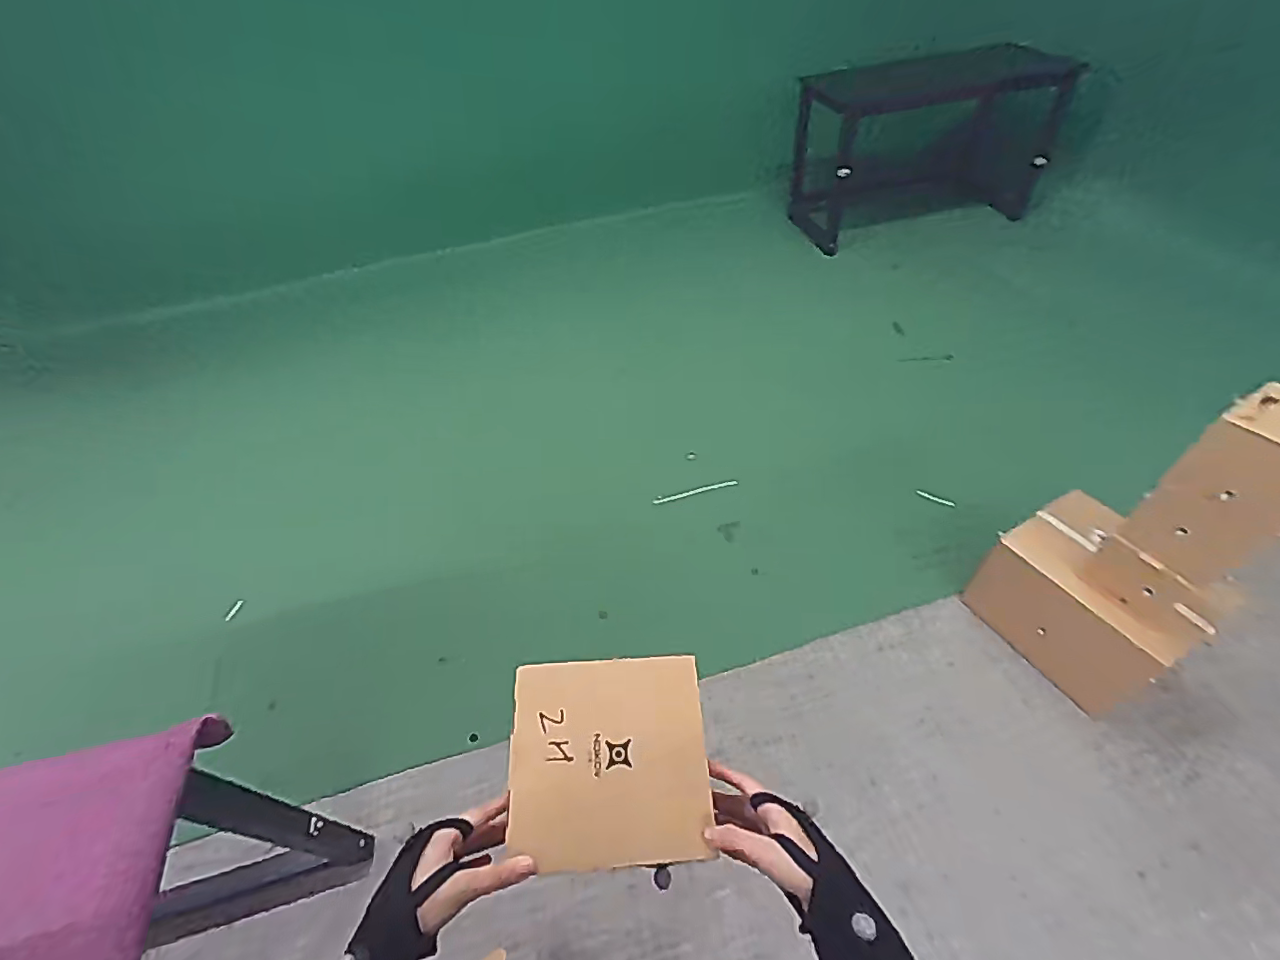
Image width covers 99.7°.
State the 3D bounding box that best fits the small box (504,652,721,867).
[{"bbox_3d":[-0.027,0.281,0.540,0.179,0.176,0.168,-2,54,-2],"label":"small box"}]

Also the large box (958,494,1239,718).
[{"bbox_3d":[1.147,0.319,1.409,0.320,0.320,0.408,-25,48,-17],"label":"large box"}]

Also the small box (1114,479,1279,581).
[{"bbox_3d":[1.123,0.077,1.079,0.168,0.176,0.179,-26,50,-16],"label":"small box"}]

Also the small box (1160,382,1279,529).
[{"bbox_3d":[1.109,-0.036,0.960,0.168,0.176,0.179,-26,51,-16],"label":"small box"}]

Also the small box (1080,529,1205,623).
[{"bbox_3d":[1.134,0.186,1.200,0.179,0.176,0.168,-25,50,-16],"label":"small box"}]
